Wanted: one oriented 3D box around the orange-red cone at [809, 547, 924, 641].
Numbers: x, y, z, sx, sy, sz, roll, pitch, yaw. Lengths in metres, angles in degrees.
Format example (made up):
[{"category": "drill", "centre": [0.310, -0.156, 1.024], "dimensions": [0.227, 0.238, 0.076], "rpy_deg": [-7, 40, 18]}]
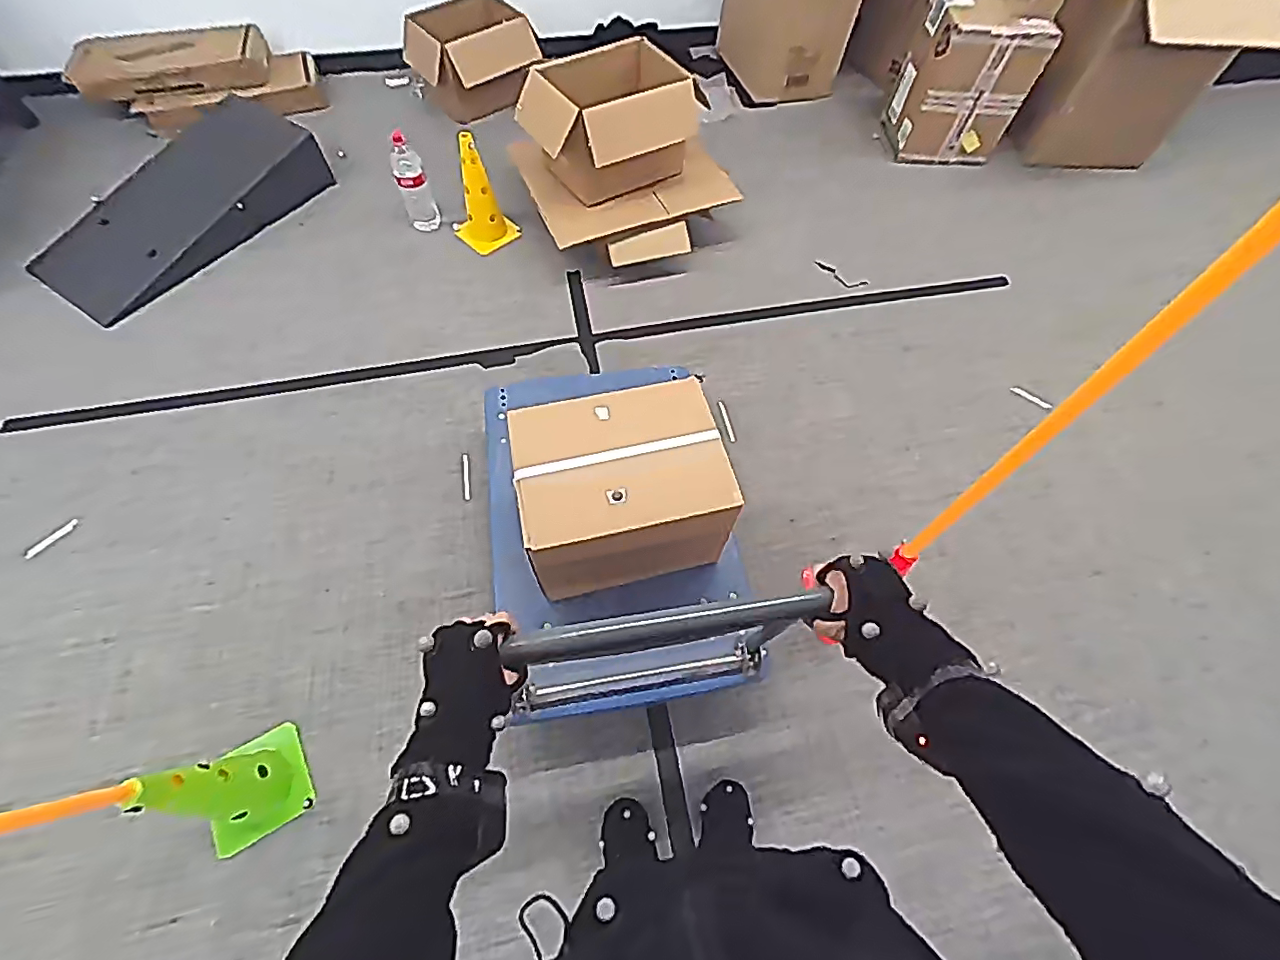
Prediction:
[{"category": "orange-red cone", "centre": [0.557, 0.235, 1.257], "dimensions": [0.199, 0.360, 0.198], "rpy_deg": [-3, 62, -4]}]
